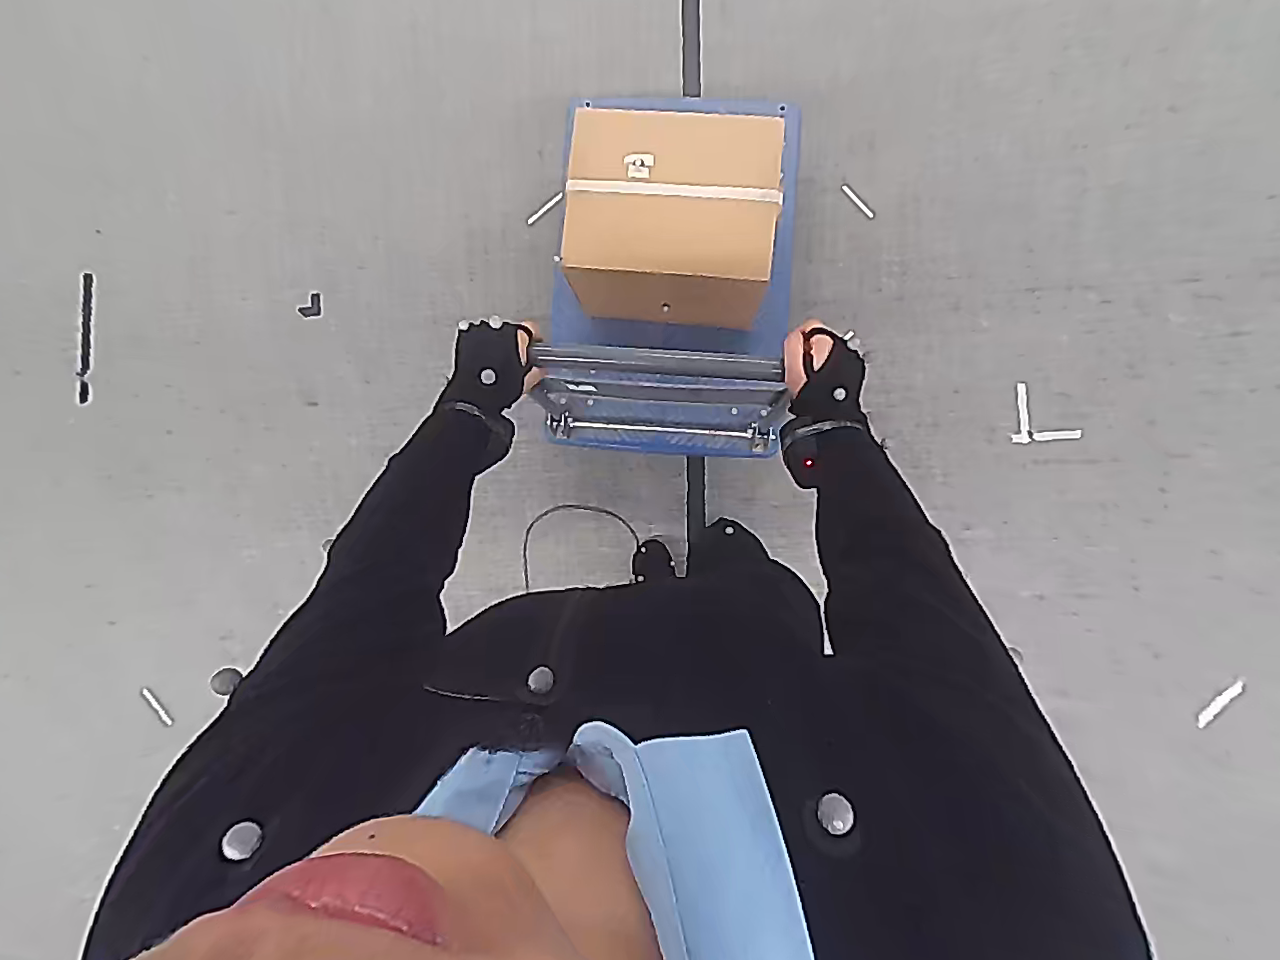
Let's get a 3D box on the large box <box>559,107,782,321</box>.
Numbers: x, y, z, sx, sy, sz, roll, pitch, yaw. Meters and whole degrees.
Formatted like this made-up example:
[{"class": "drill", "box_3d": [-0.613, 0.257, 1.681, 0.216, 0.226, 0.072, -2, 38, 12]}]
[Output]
[{"class": "large box", "box_3d": [0.070, -0.545, 1.162, 0.408, 0.320, 0.320, 6, 88, 6]}]
